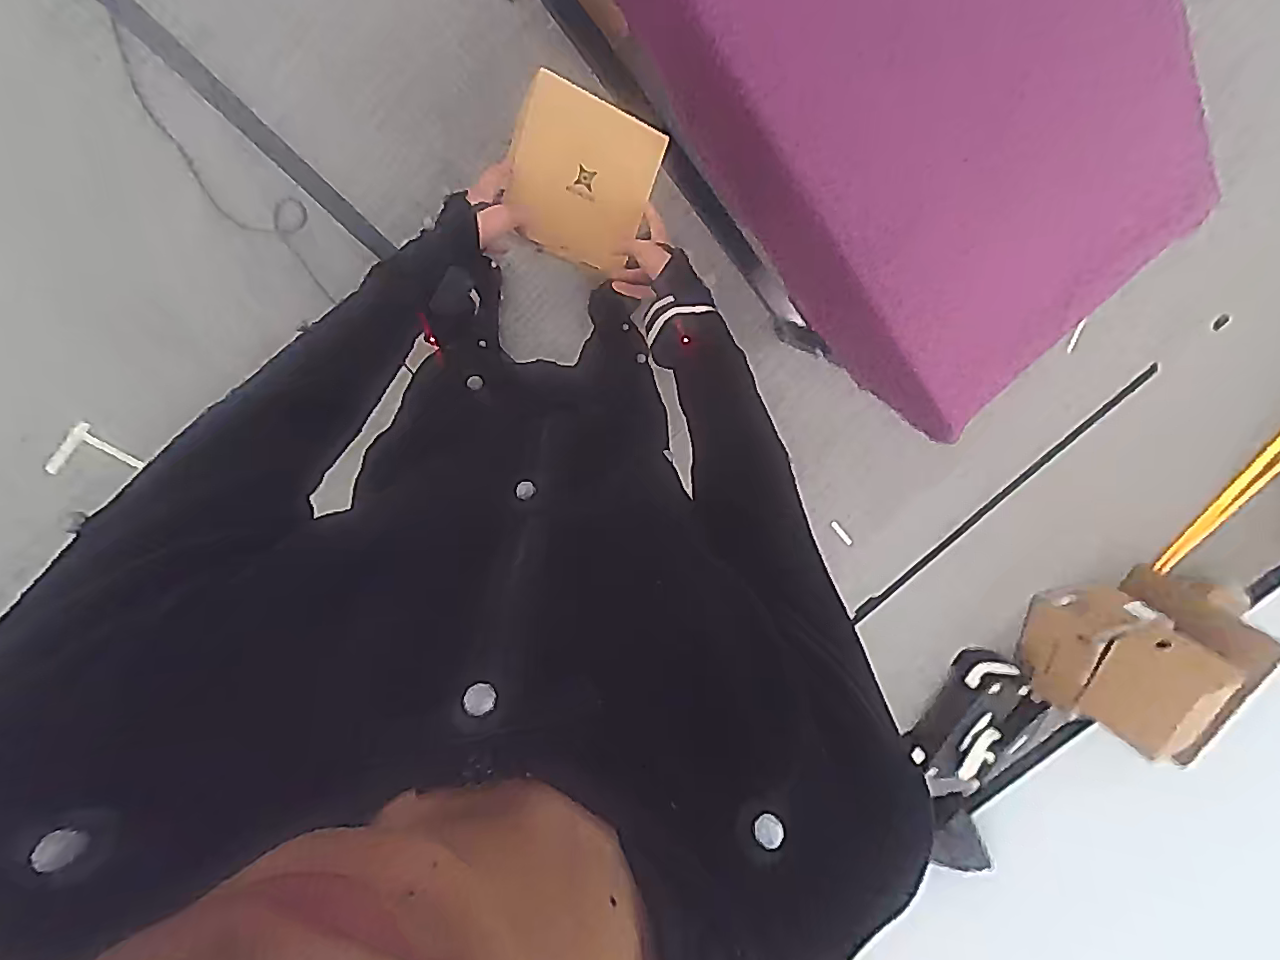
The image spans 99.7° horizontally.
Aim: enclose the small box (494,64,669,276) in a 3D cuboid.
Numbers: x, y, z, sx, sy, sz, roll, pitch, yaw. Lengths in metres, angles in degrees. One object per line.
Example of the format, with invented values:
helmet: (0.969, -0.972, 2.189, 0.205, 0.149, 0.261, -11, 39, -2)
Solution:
small box: (-0.089, -0.388, 0.711, 0.168, 0.176, 0.179, 14, 108, -23)
